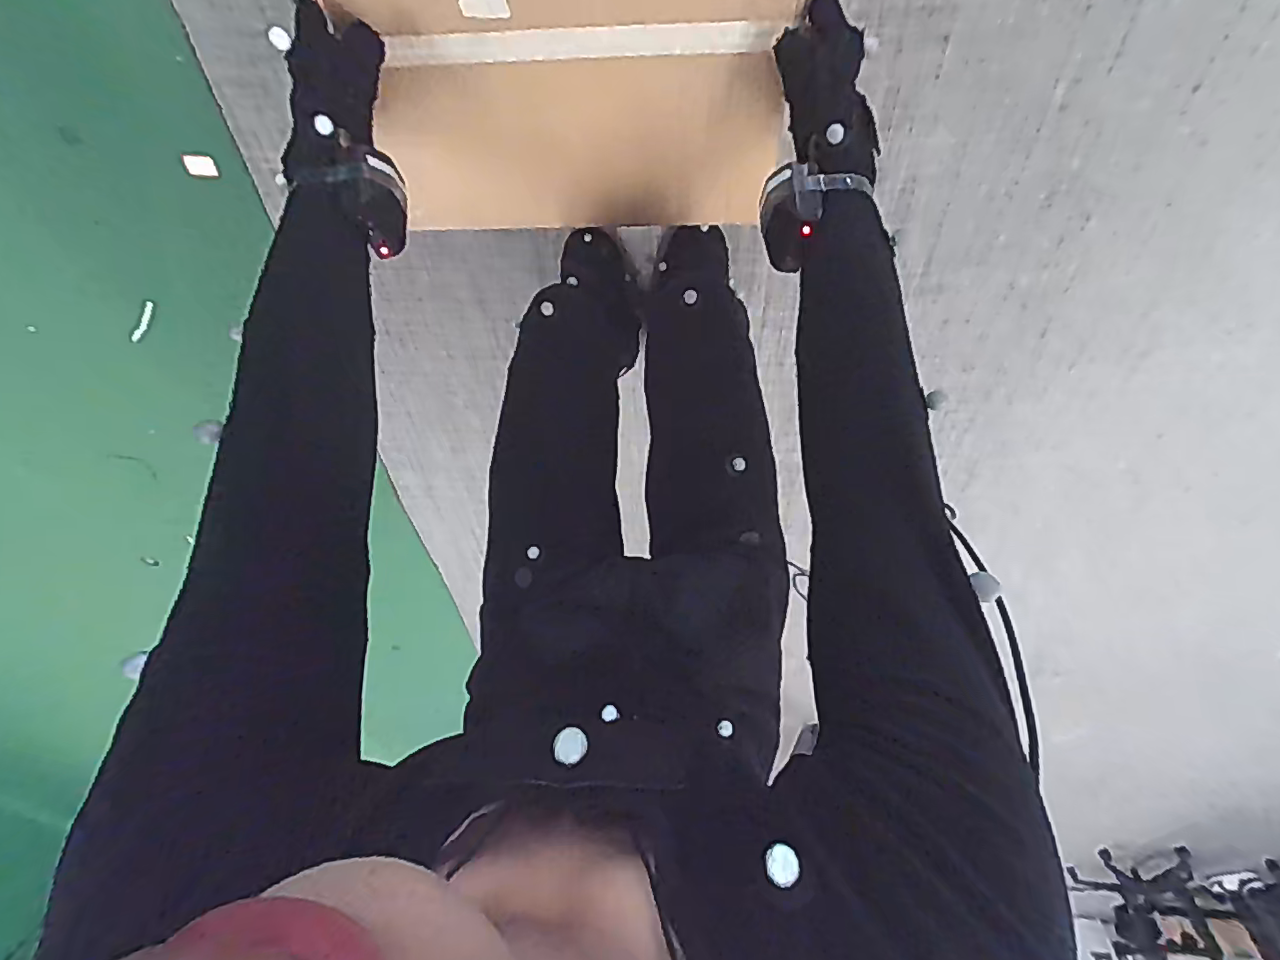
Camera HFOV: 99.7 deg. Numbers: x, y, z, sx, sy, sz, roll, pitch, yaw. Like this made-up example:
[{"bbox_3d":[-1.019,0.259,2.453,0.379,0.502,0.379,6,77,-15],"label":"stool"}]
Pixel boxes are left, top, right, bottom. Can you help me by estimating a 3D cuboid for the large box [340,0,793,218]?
[{"bbox_3d":[-0.059,-0.504,0.588,0.408,0.320,0.320,1,134,2],"label":"large box"}]
